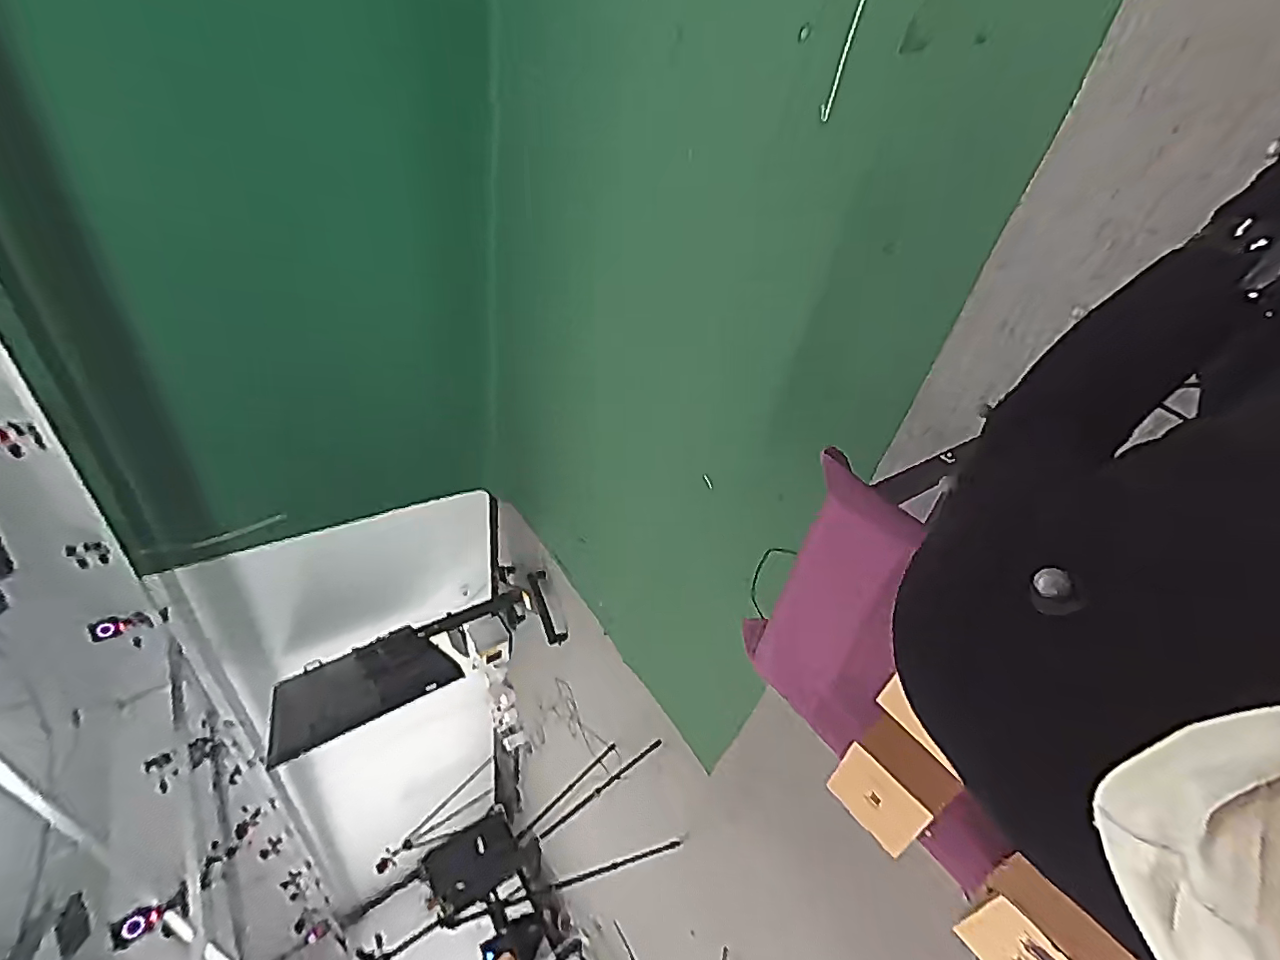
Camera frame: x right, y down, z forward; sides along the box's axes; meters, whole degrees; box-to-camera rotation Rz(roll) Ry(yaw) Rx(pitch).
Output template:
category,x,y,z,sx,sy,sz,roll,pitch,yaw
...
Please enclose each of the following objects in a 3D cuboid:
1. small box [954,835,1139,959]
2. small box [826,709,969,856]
category,x,y,z,sx,sy,sz,roll,pitch,yaw
small box,0.673,0.739,0.897,0.168,0.176,0.179,42,137,38
small box,0.508,0.583,1.069,0.168,0.176,0.179,41,134,37
